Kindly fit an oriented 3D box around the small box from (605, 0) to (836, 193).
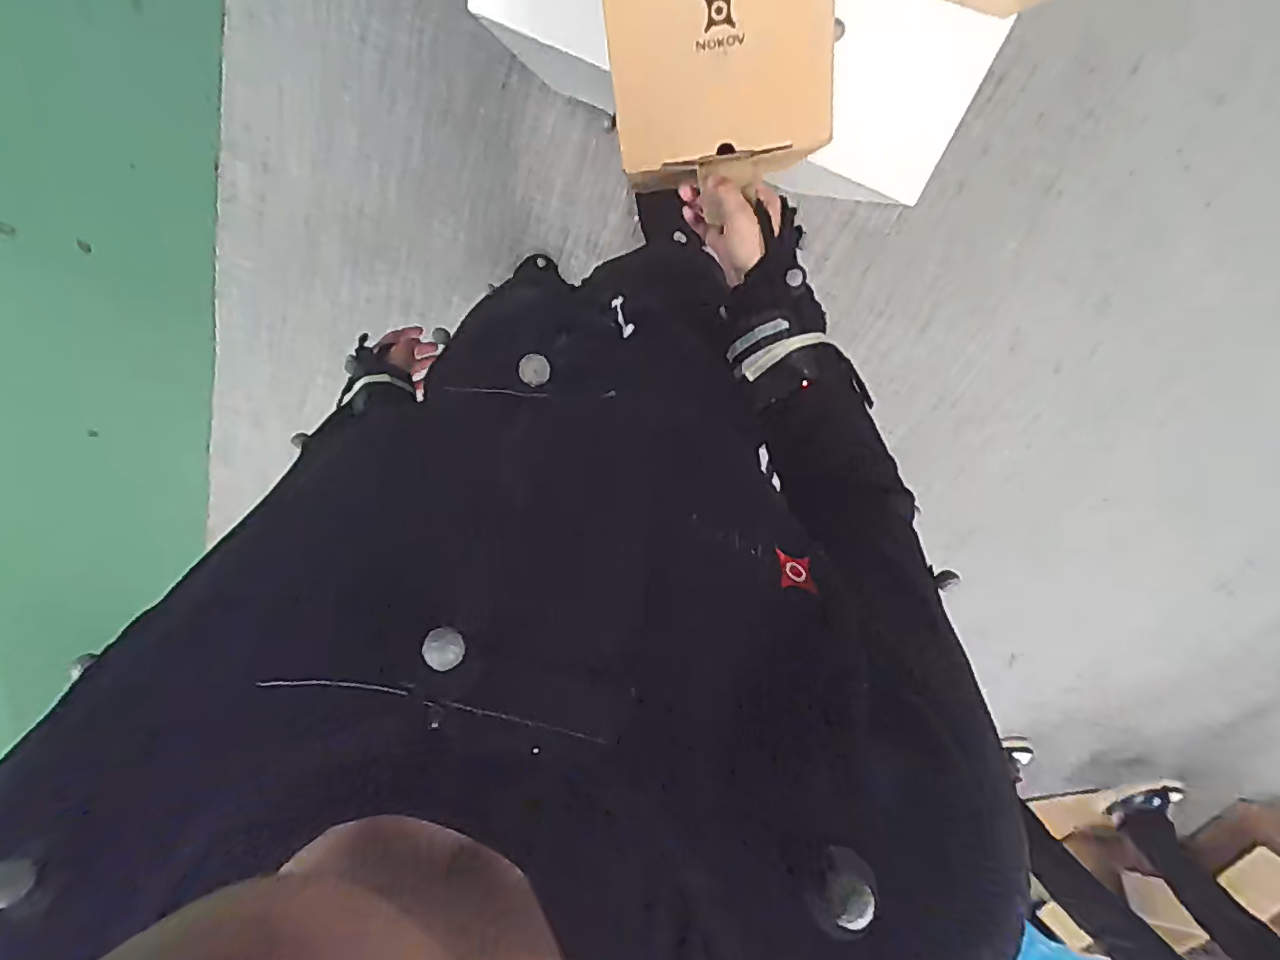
[{"bbox_3d":[0.059,-0.359,0.461,0.168,0.176,0.179,-6,114,5],"label":"small box"}]
